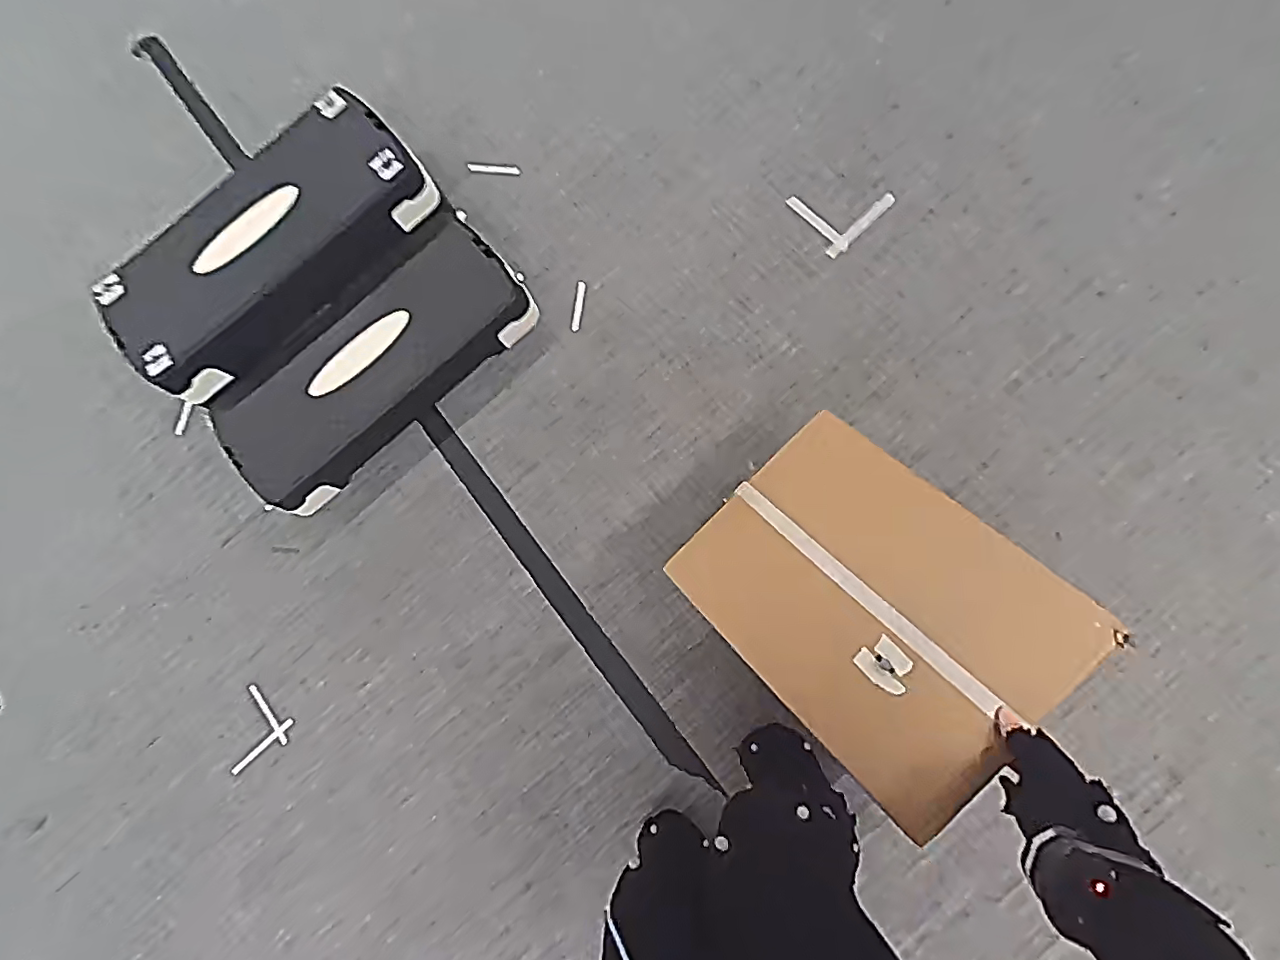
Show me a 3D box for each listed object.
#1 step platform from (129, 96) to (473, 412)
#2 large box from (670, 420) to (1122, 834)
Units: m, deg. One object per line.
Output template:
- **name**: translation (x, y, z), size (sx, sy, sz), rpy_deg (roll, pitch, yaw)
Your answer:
- **step platform**: translation (-0.708, -0.467, 1.148), size (0.684, 0.204, 0.286), rpy_deg (-42, 77, -1)
- **large box**: translation (0.316, 0.191, 0.778), size (0.320, 0.320, 0.408), rpy_deg (-46, 61, -1)
